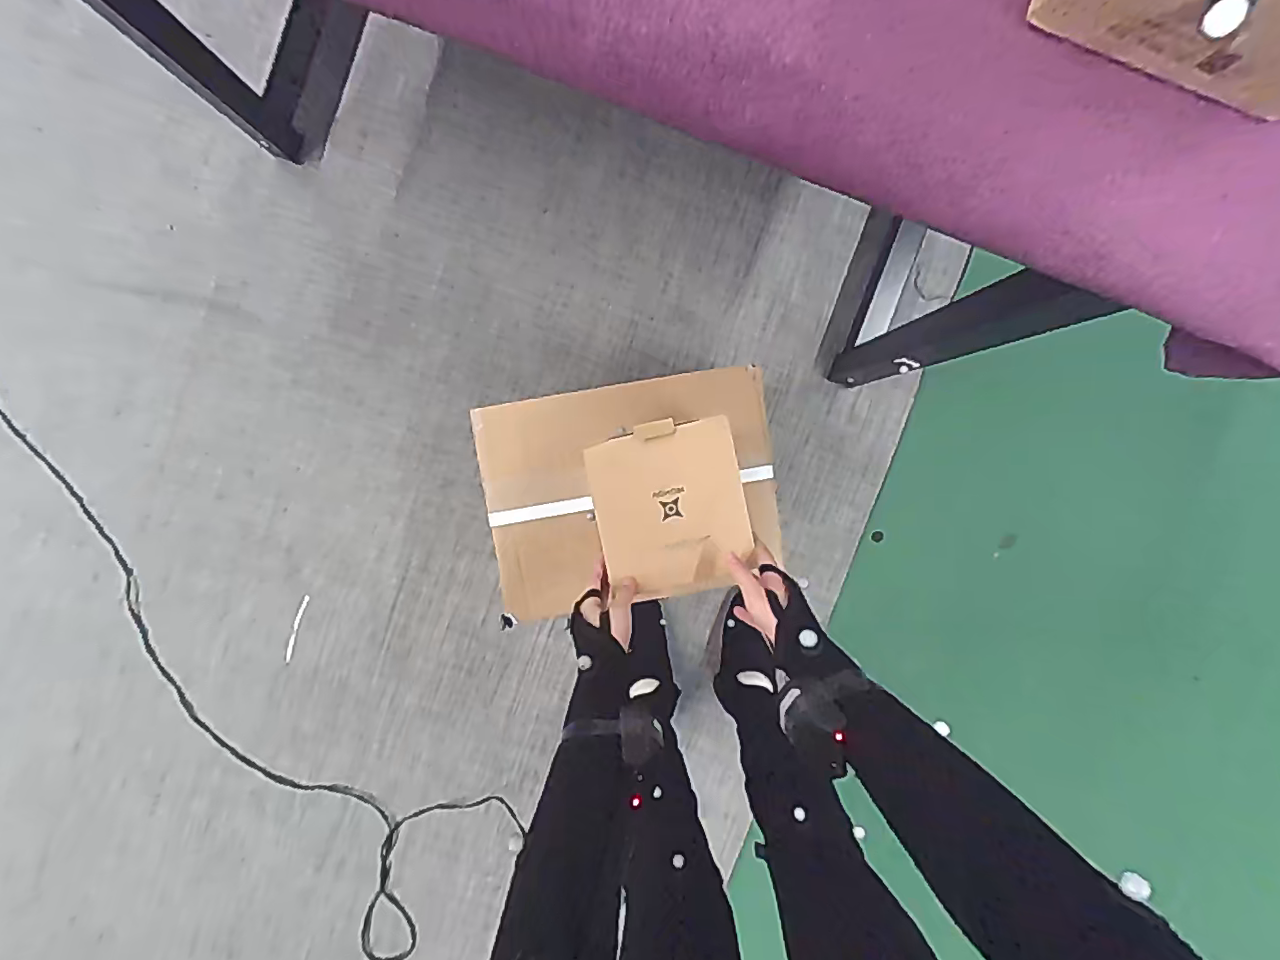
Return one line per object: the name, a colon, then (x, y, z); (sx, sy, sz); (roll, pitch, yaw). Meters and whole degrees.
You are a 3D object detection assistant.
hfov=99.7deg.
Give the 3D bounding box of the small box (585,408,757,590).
small box: (0.030, 0.023, 0.667); (0.168, 0.176, 0.179); (-11, 89, -2)
